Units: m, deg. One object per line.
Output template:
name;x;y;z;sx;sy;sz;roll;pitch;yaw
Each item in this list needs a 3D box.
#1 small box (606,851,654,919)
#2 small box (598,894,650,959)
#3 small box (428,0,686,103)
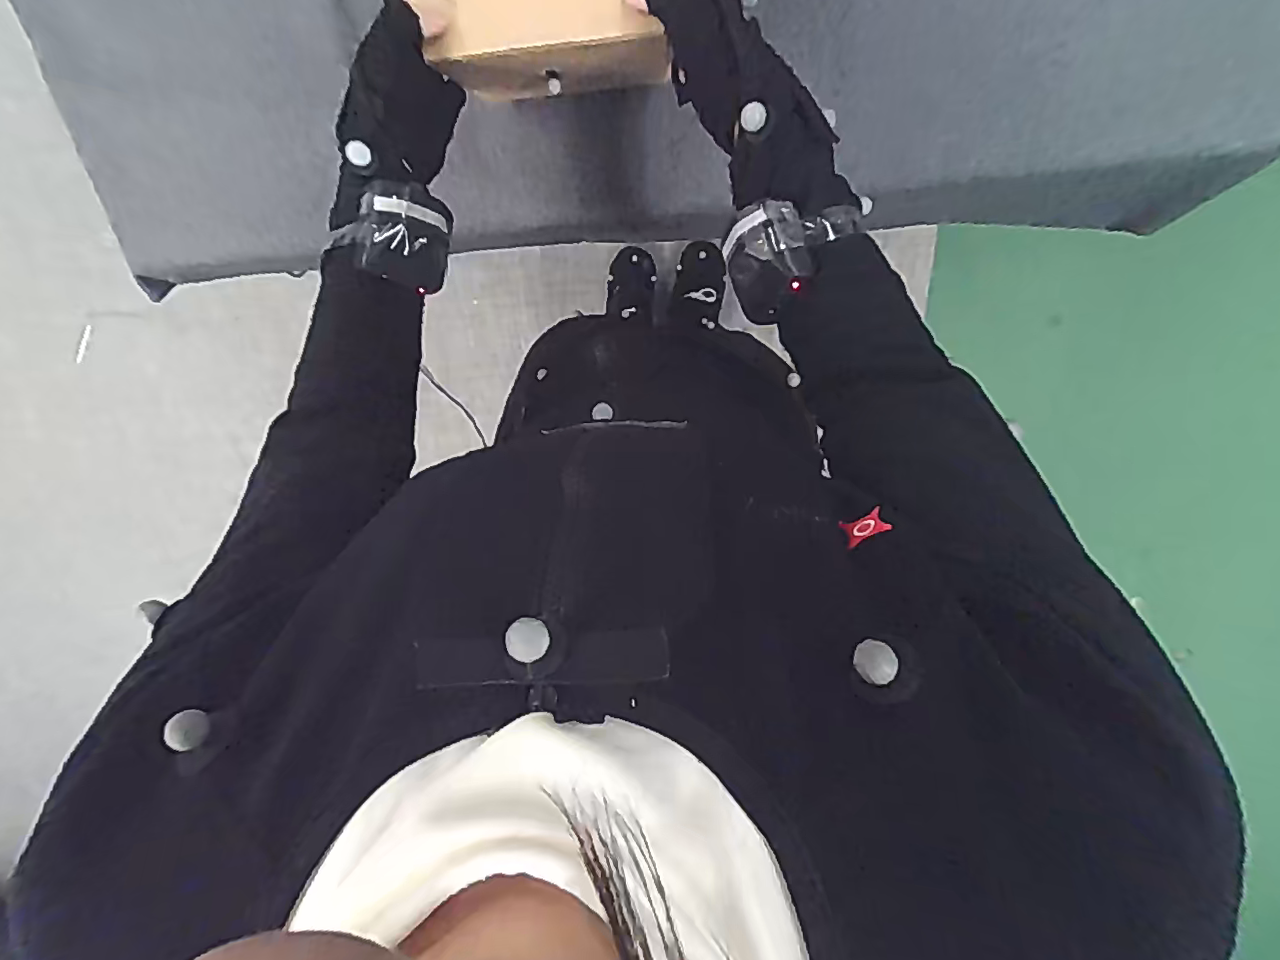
small box;-0.038;1.657;2.218;0.179;0.176;0.168;-2;115;5
small box;-0.057;1.725;2.070;0.179;0.176;0.168;1;116;6
small box;-0.065;-0.411;0.415;0.179;0.176;0.168;-7;117;5
